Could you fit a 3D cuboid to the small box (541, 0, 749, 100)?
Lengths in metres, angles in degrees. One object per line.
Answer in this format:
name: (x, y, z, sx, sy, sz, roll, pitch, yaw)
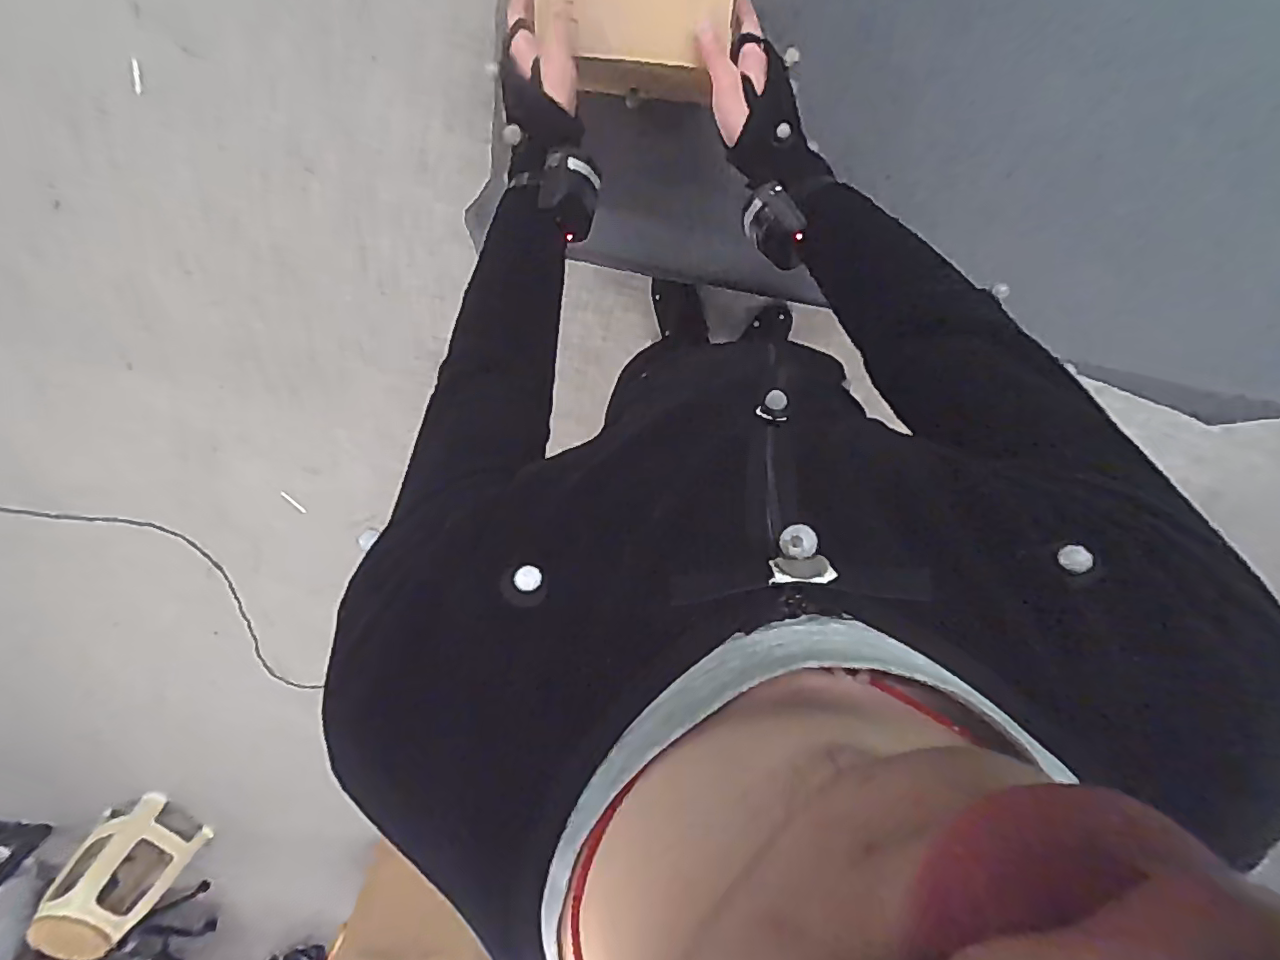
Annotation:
small box: (0.004, -0.474, 0.508, 0.179, 0.176, 0.168, 4, 117, -4)
